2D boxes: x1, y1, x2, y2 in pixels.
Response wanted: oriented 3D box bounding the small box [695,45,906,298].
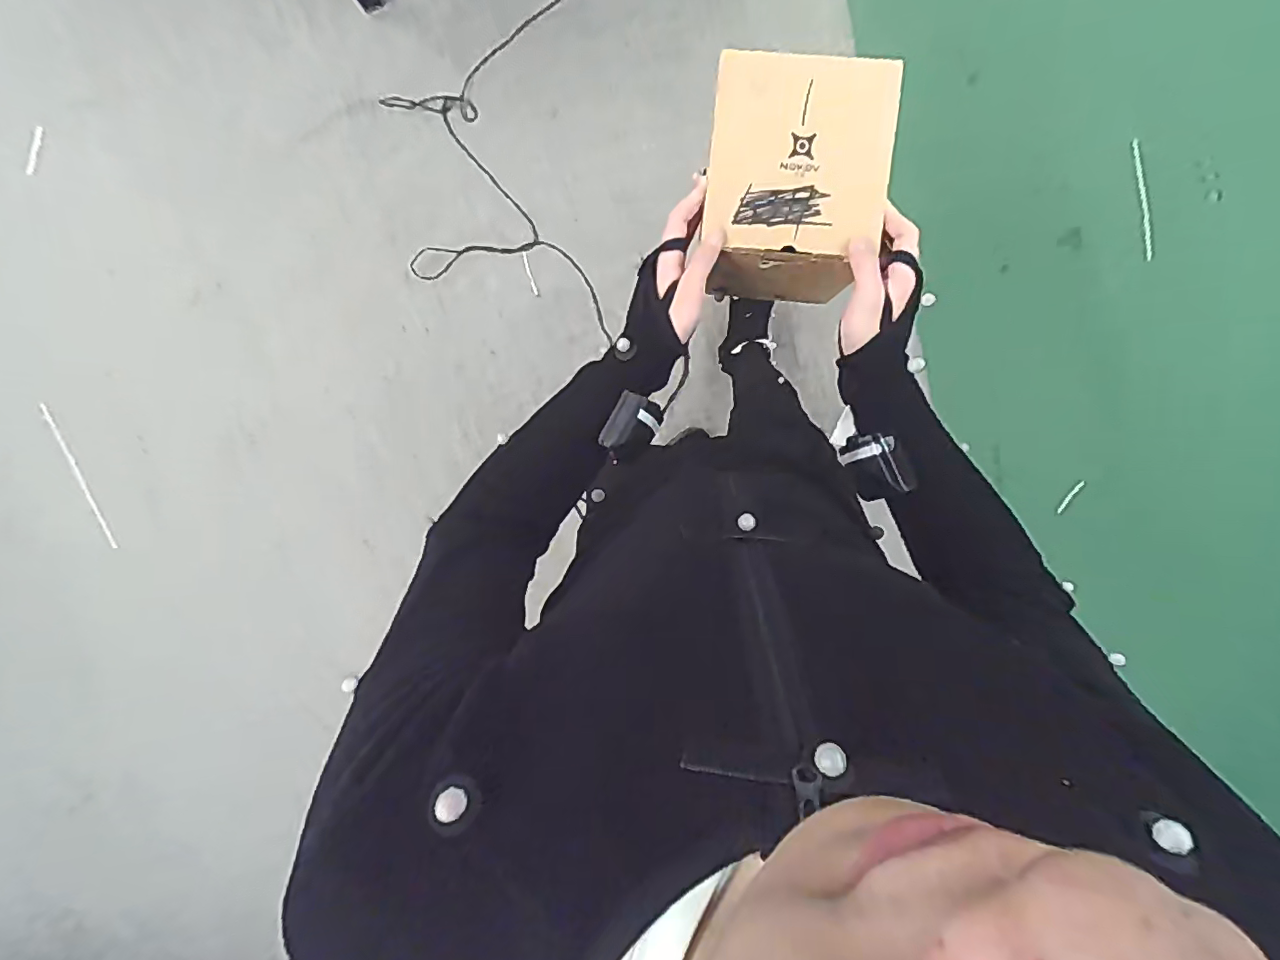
[{"bbox_3d":[0.149,-0.299,0.564,0.168,0.176,0.179,6,95,2],"label":"small box"}]
